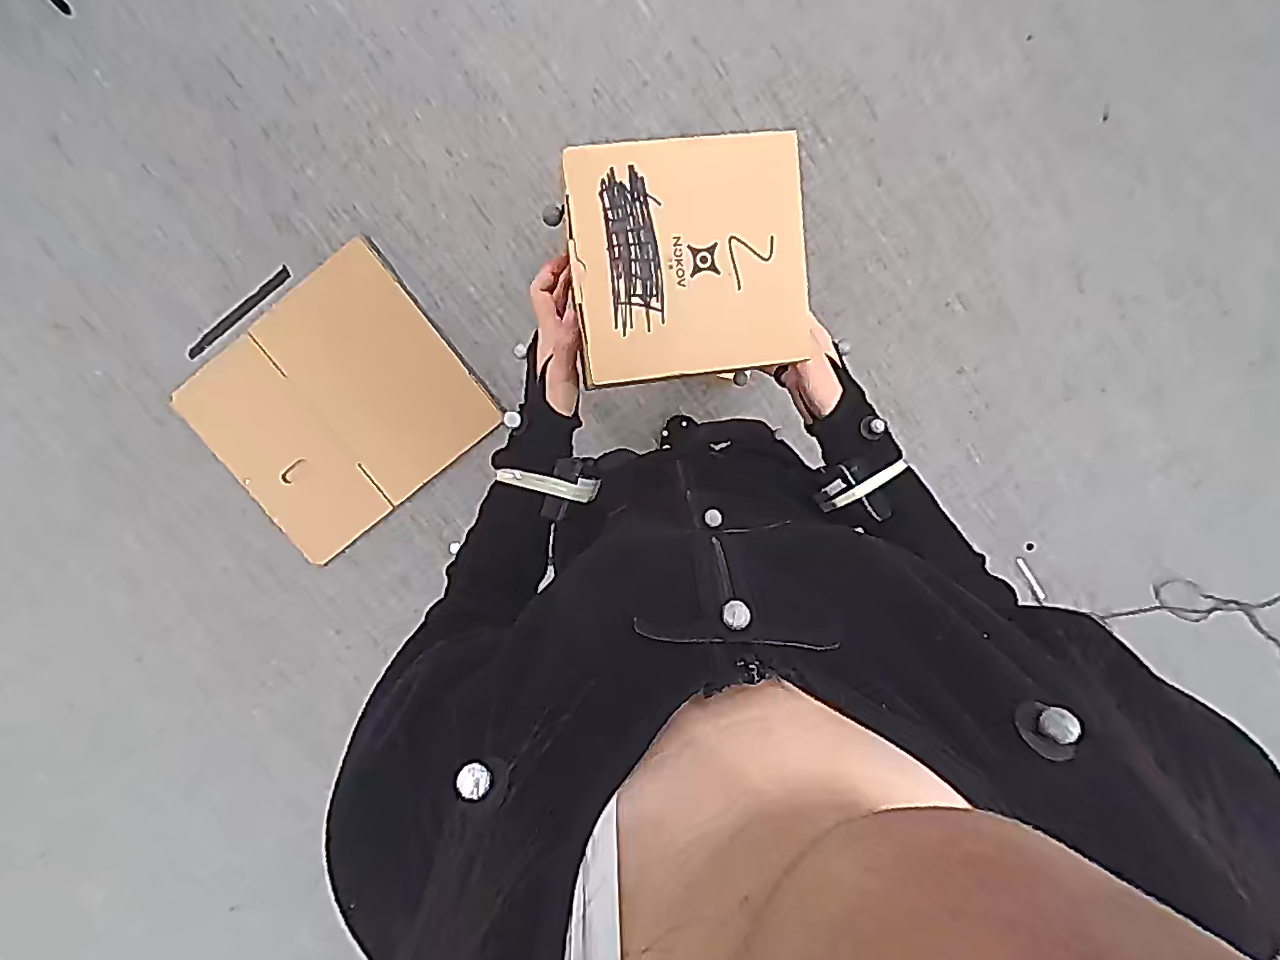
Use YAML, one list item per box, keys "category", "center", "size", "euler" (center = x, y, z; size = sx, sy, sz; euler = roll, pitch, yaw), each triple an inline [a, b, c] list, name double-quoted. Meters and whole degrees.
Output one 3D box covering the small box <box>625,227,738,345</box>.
- category: "small box"
  center: [0.074, -0.364, 1.047]
  size: [0.179, 0.176, 0.168]
  euler: [11, 99, -1]
